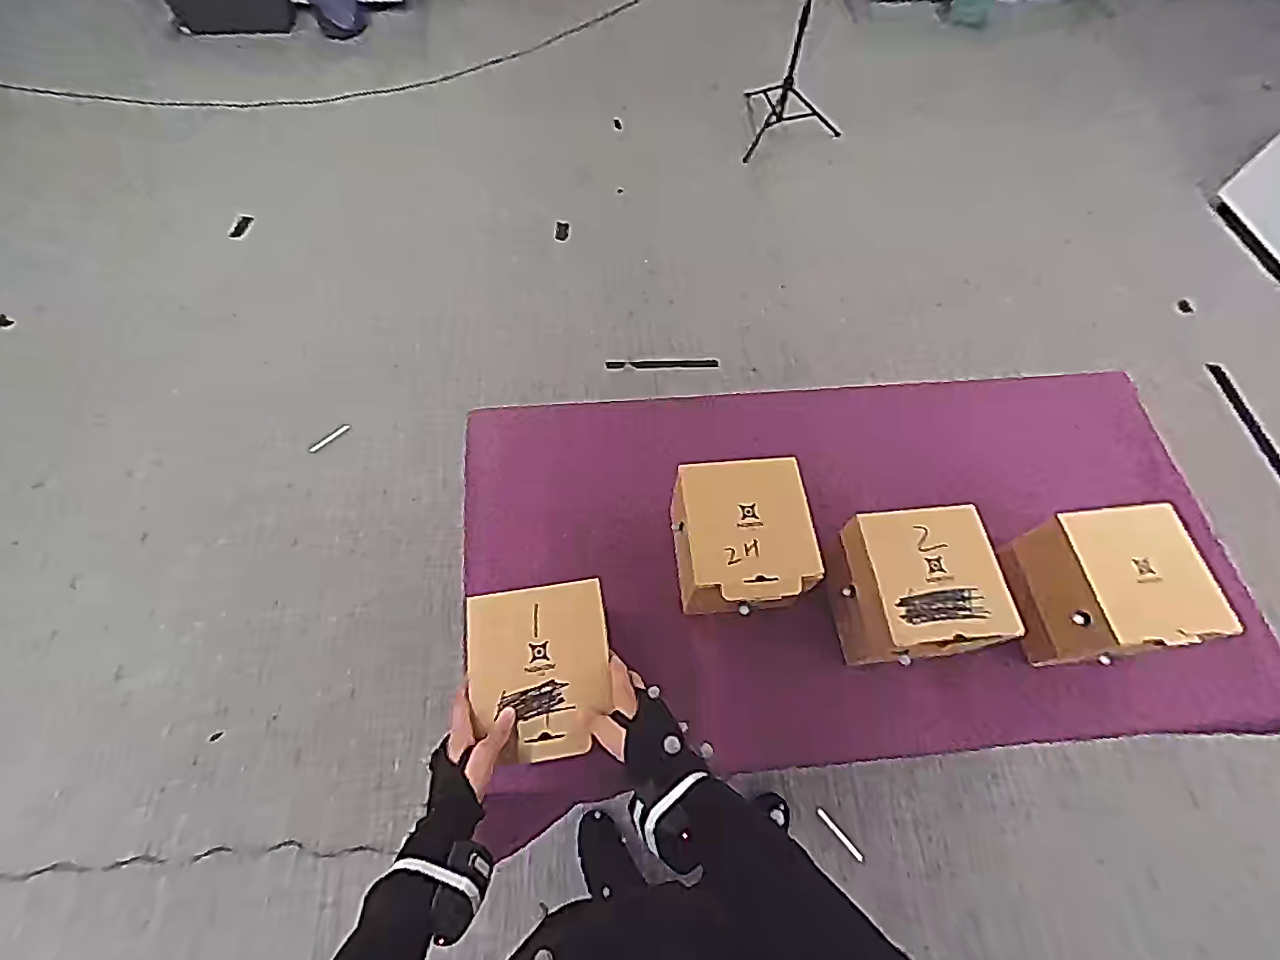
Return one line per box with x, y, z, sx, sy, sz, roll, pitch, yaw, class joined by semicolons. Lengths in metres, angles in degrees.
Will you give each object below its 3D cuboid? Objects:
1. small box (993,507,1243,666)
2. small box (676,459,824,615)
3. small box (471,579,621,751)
0.649;0.156;0.766;0.168;0.176;0.179;-5;64;-3;small box
0.145;0.087;0.787;0.168;0.176;0.179;-4;64;-2;small box
-0.116;0.244;0.705;0.168;0.176;0.179;-7;64;-5;small box
